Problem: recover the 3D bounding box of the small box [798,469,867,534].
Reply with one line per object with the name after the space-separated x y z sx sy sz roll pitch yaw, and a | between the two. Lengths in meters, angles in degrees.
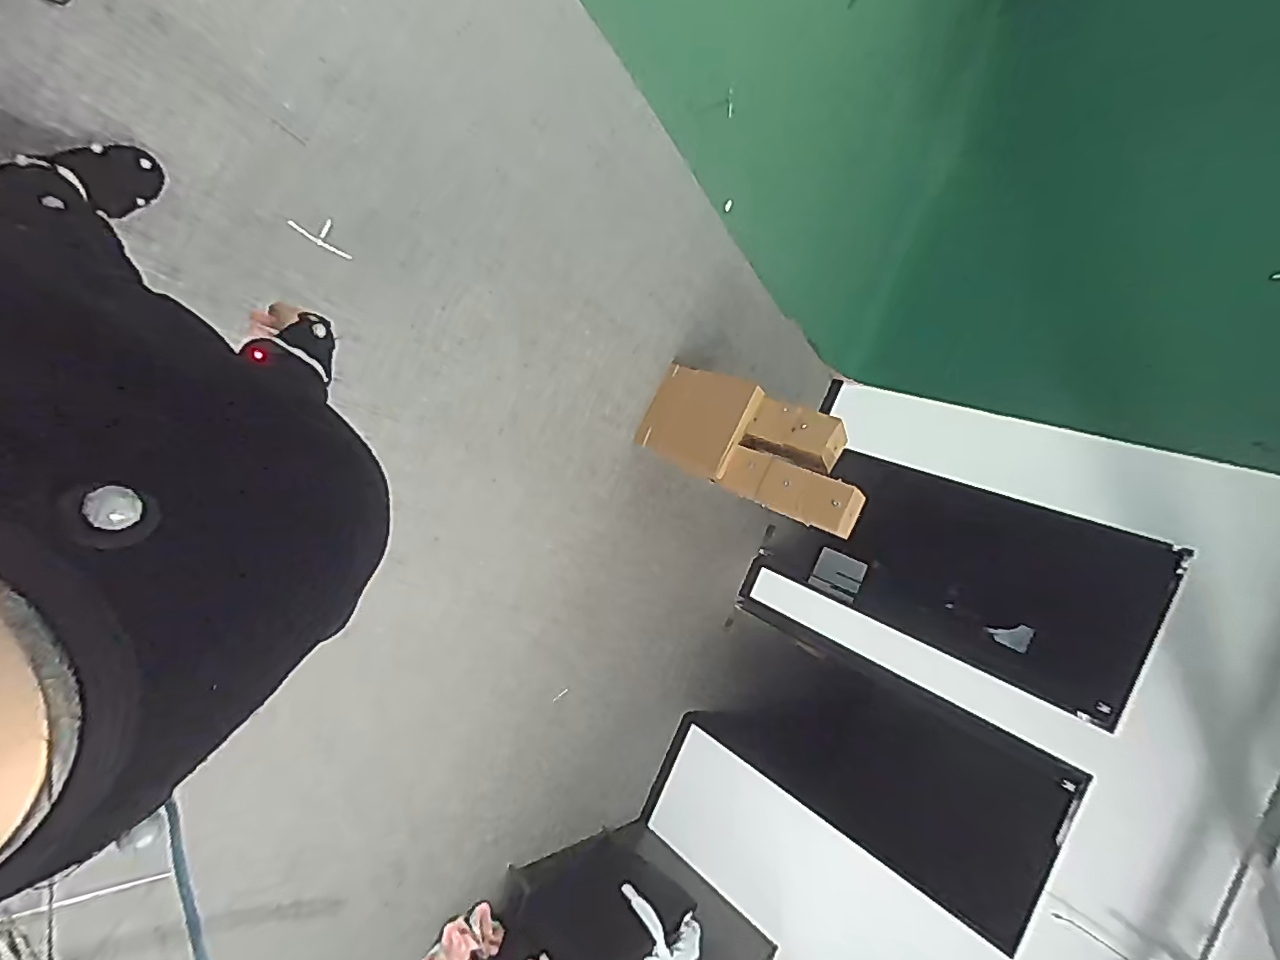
0.708 0.076 1.995 0.168 0.176 0.179 25 90 -53 | small box
